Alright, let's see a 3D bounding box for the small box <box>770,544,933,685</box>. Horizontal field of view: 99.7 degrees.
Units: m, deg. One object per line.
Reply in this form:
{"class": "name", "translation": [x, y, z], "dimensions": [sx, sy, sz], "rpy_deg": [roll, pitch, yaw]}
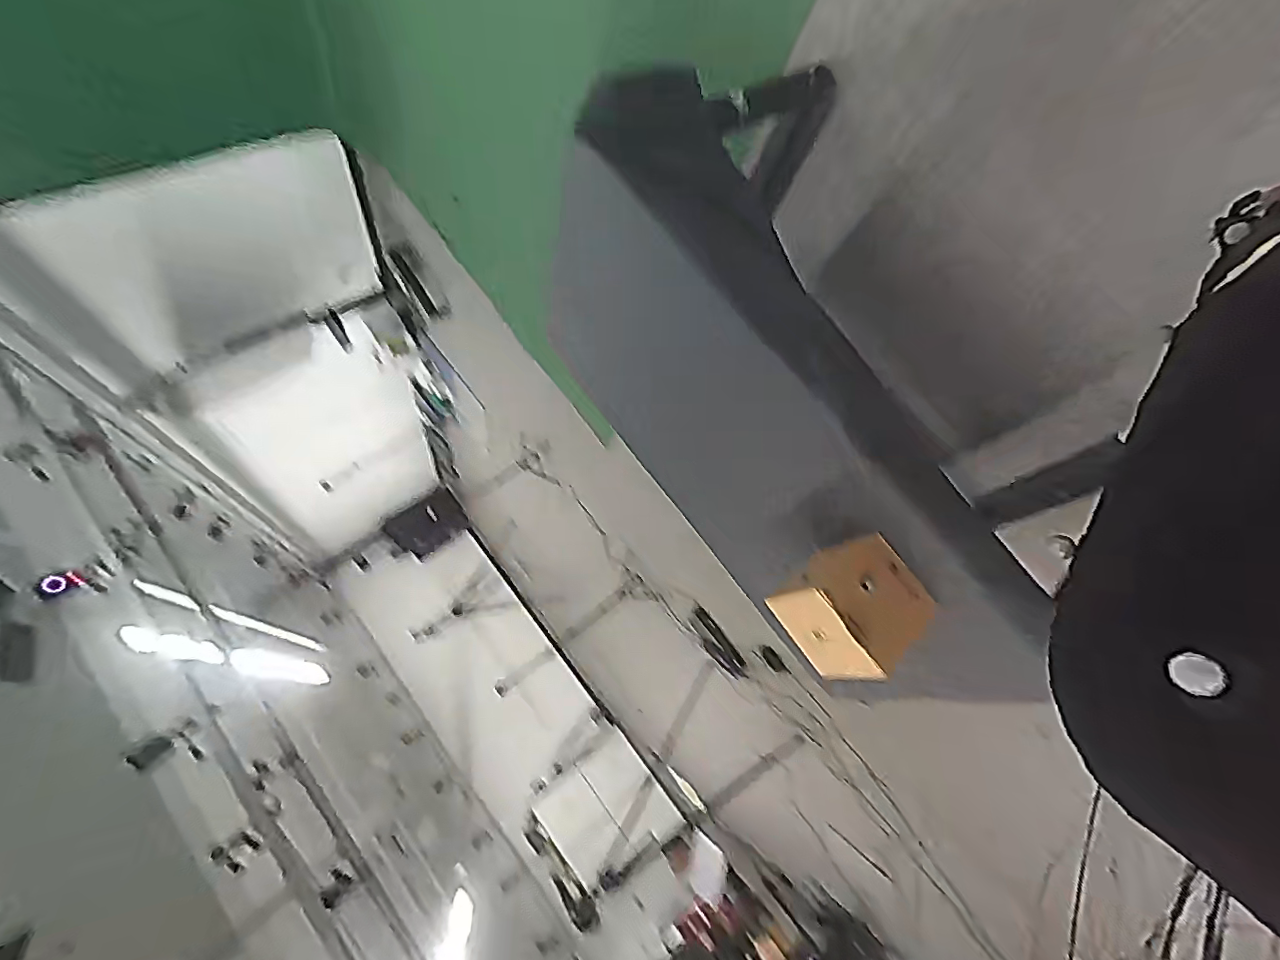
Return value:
{"class": "small box", "translation": [0.367, 0.230, 0.931], "dimensions": [0.168, 0.176, 0.179], "rpy_deg": [54, 157, 7]}
